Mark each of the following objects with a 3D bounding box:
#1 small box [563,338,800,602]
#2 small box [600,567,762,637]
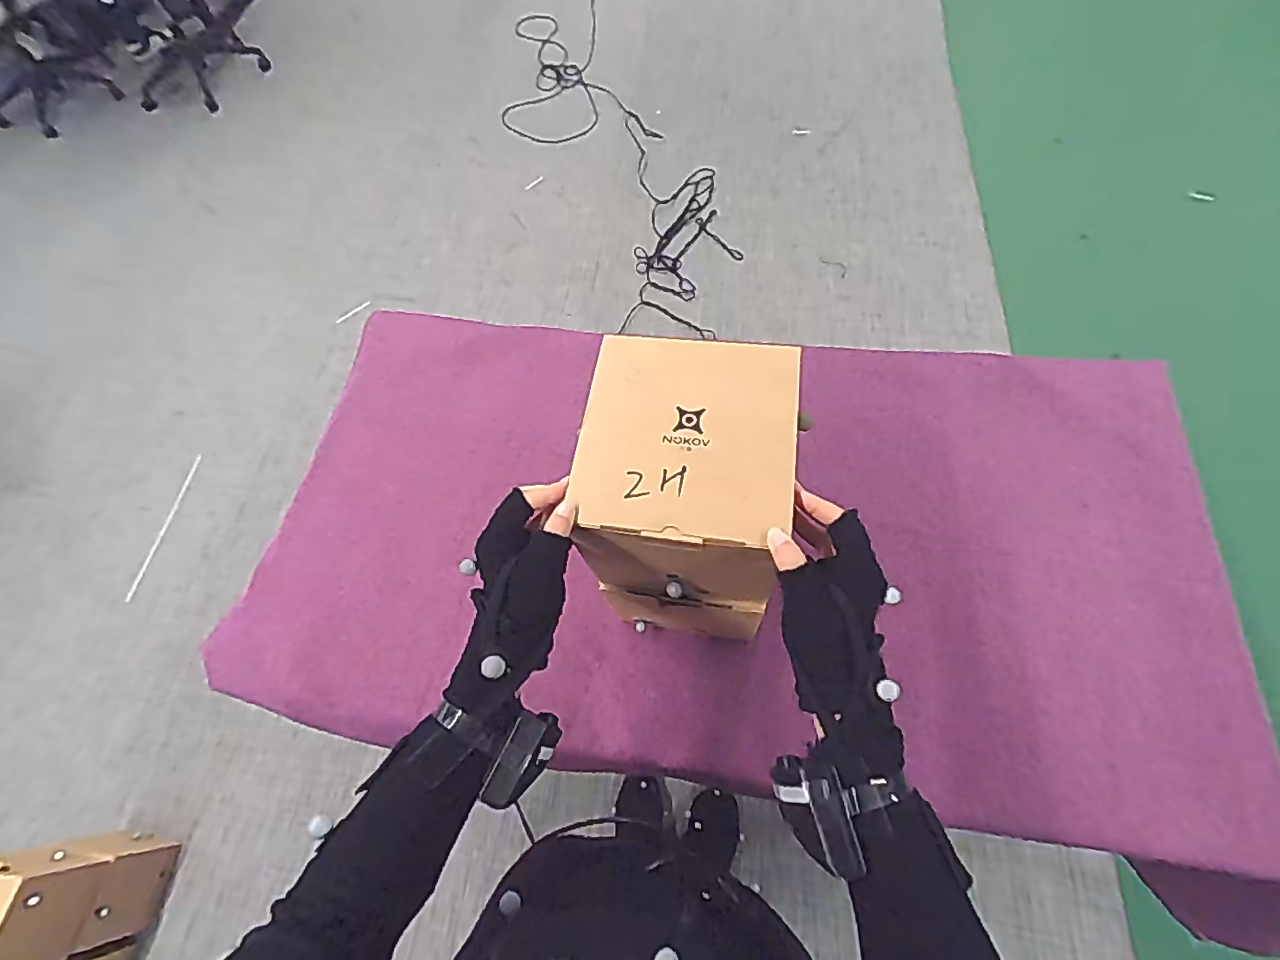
[{"bbox_3d":[0.044,-0.002,0.495,0.168,0.176,0.179,7,66,10],"label":"small box"},{"bbox_3d":[0.062,0.076,0.638,0.168,0.176,0.179,7,64,10],"label":"small box"}]
